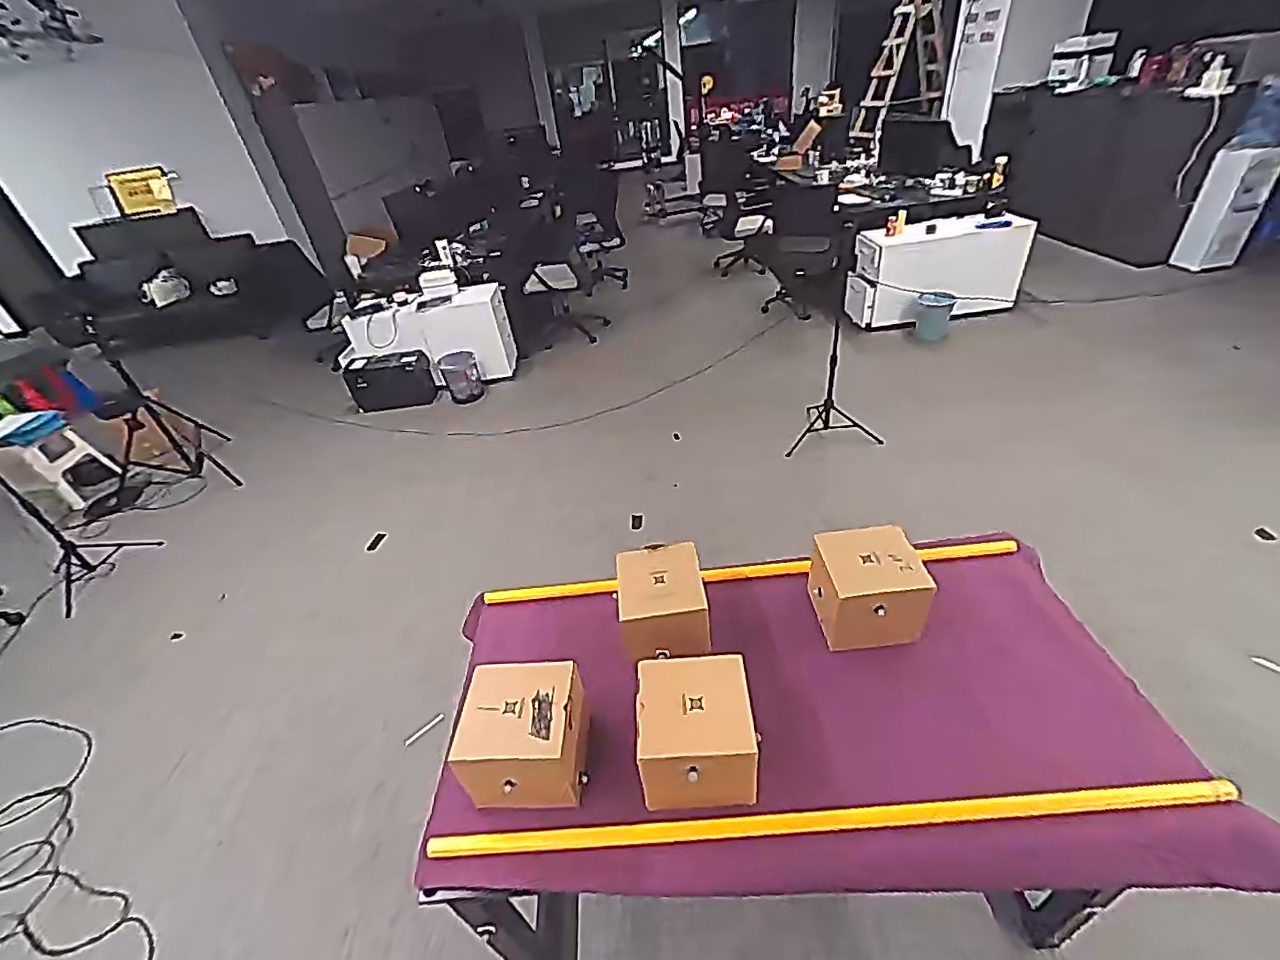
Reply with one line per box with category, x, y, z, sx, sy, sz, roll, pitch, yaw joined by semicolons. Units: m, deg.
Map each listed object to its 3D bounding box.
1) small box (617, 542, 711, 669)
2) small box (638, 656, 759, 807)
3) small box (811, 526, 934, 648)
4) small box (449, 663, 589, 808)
small box;0.047;0.254;1.098;0.168;0.176;0.179;-9;38;1
small box;0.093;0.410;0.882;0.179;0.176;0.168;-6;36;4
small box;0.446;0.214;1.071;0.179;0.176;0.168;-7;38;2
small box;-0.188;0.428;0.907;0.179;0.176;0.168;-4;37;6
